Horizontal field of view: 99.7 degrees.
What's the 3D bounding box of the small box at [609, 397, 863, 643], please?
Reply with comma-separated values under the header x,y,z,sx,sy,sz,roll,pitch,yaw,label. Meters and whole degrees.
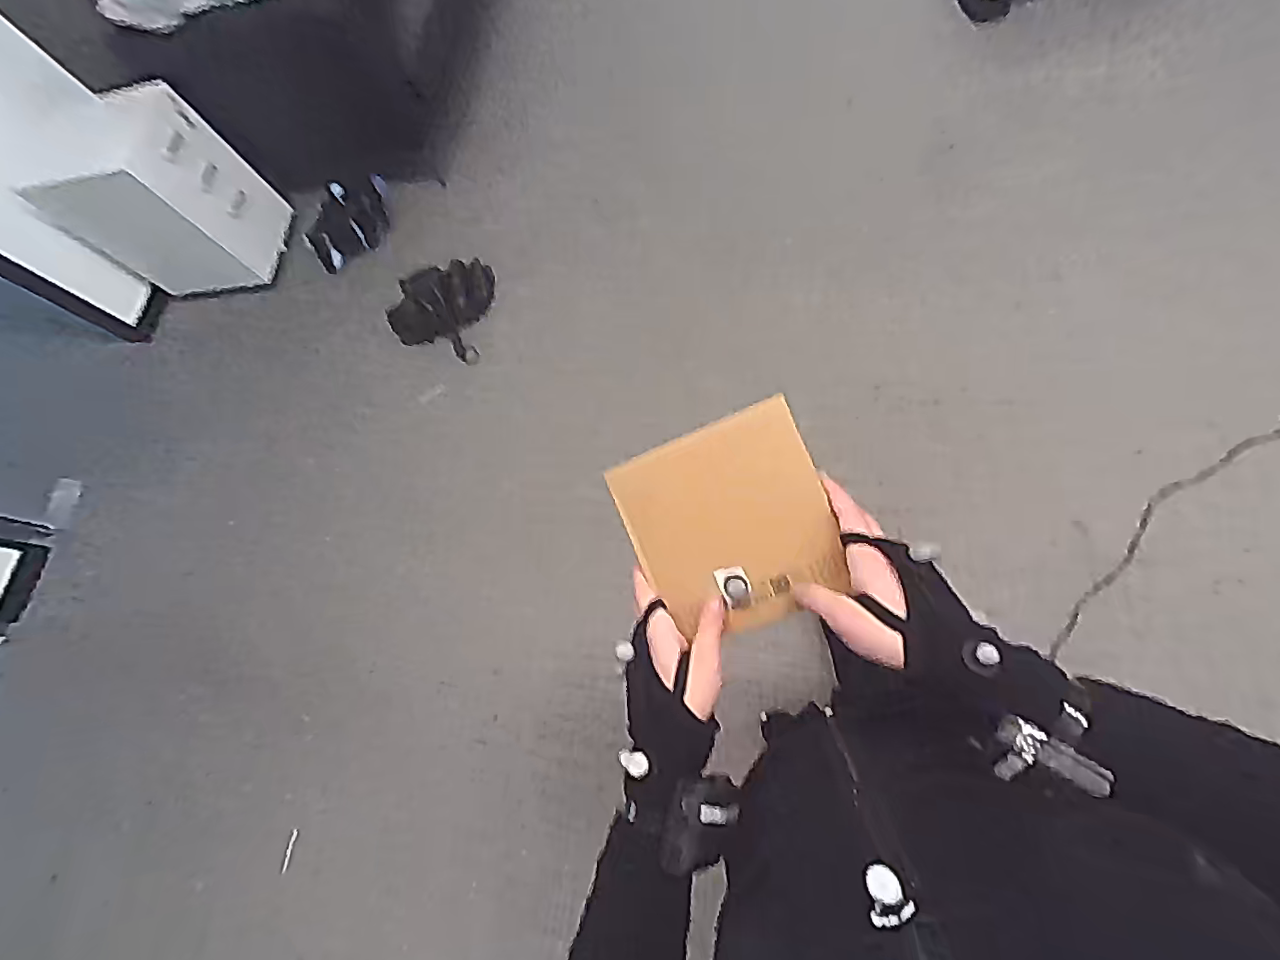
x,y,z,sx,sy,sz,roll,pitch,yaw,label
0.095,0.039,0.527,0.168,0.179,0.176,-24,85,13,small box
